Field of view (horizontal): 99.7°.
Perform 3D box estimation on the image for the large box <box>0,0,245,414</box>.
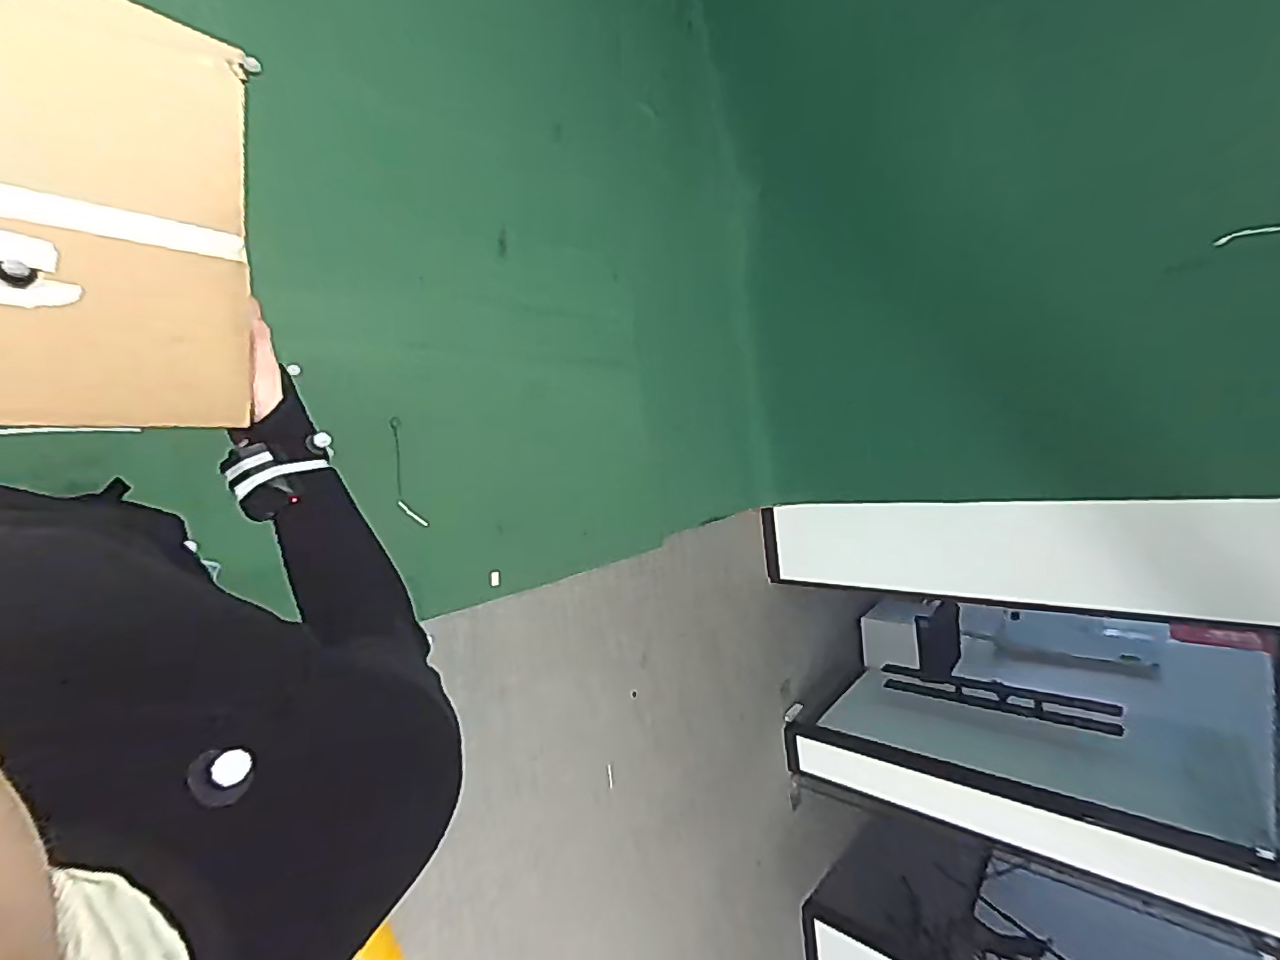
[{"bbox_3d":[-0.595,-0.227,0.418,0.408,0.320,0.320,-6,108,-50],"label":"large box"}]
